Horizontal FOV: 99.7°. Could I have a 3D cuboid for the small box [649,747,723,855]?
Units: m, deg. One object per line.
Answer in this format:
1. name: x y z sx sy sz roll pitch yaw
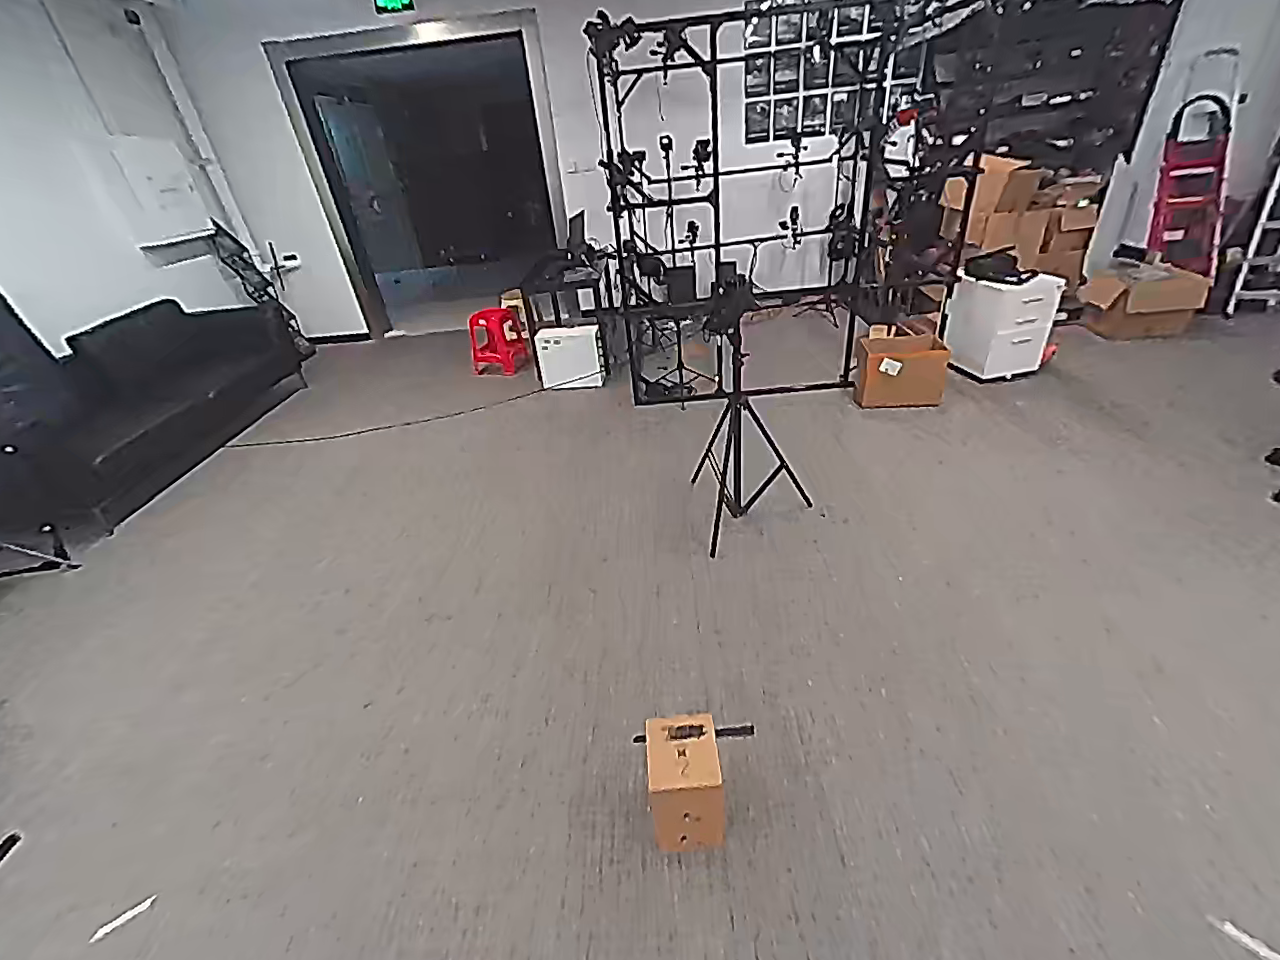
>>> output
1. small box: 0.116 0.826 1.395 0.168 0.176 0.179 -8 32 -1
